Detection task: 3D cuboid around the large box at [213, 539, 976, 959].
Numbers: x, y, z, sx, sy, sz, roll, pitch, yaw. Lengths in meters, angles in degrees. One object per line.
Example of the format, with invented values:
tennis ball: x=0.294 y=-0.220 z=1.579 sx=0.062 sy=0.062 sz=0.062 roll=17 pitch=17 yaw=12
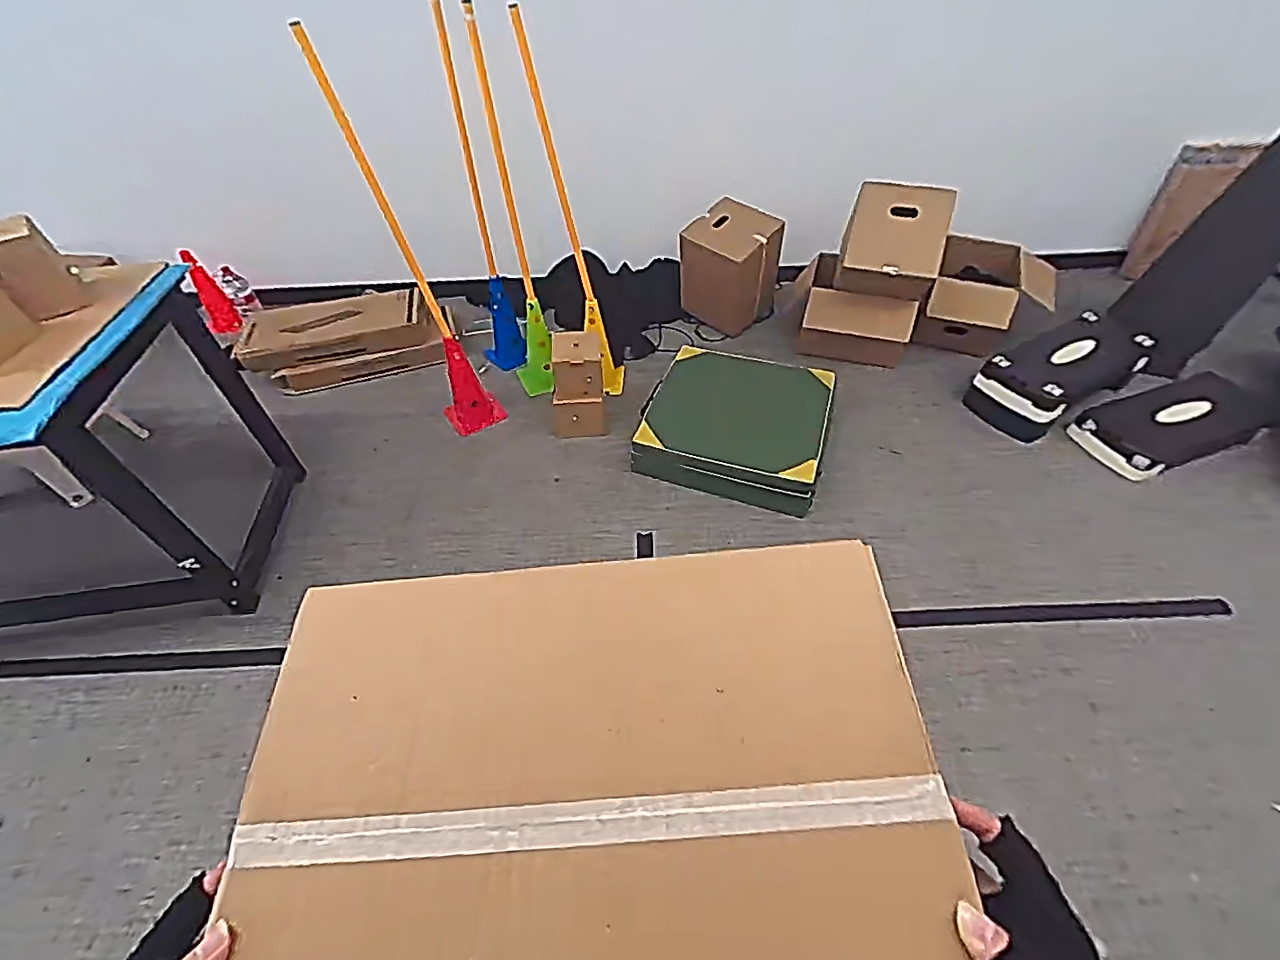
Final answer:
large box: x=-0.021 y=0.269 z=0.442 sx=0.408 sy=0.320 sz=0.320 roll=-6 pitch=57 yaw=3
